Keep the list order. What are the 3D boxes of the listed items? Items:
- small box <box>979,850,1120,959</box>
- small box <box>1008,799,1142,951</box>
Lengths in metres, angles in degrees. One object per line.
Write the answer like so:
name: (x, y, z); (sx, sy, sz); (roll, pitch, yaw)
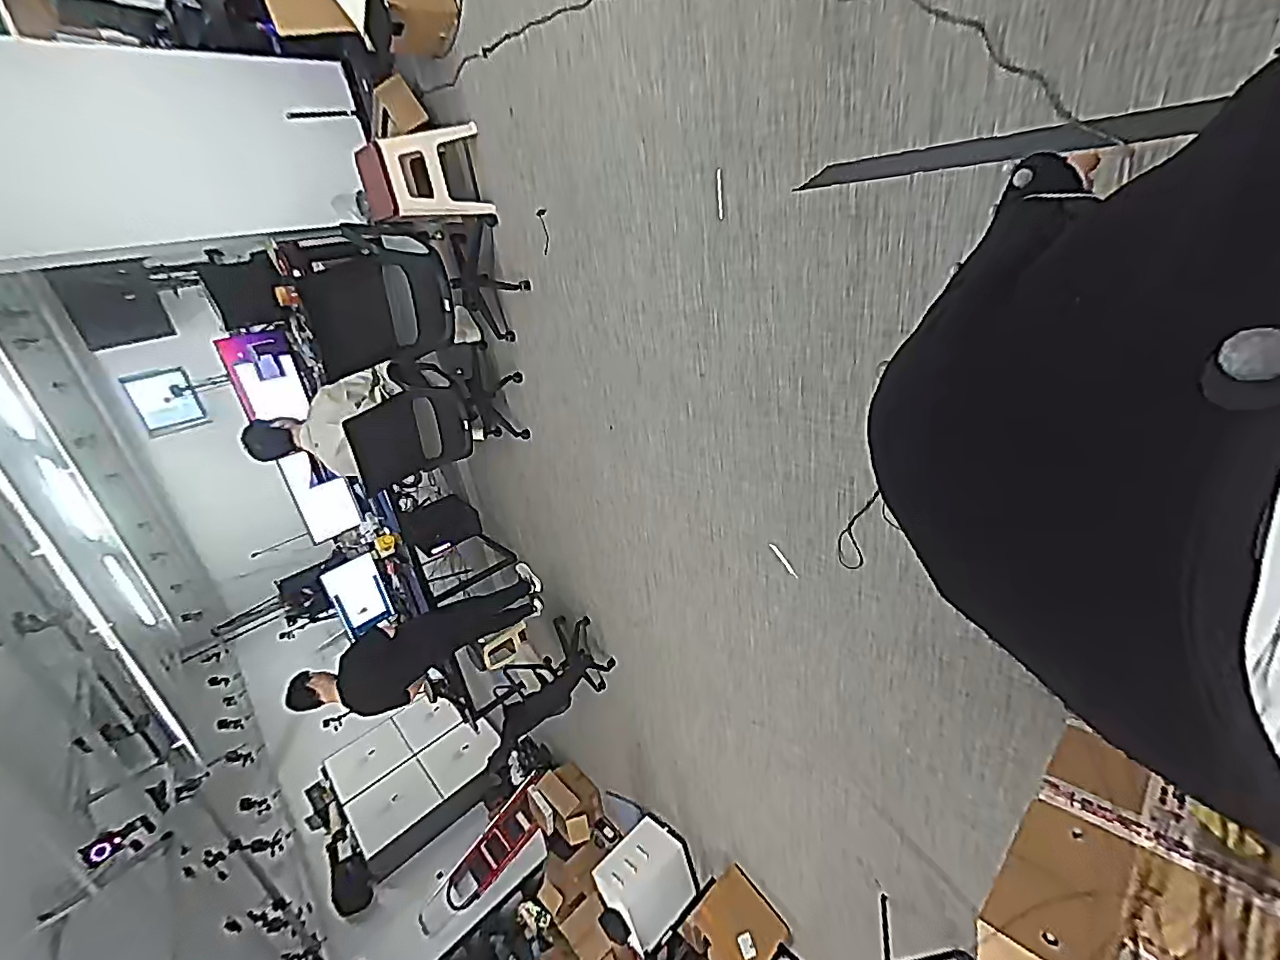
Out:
small box: (0.746, 0.836, 0.987); (0.179, 0.176, 0.168); (10, 116, 49)
small box: (0.869, 0.787, 1.087); (0.179, 0.176, 0.168); (10, 116, 50)
